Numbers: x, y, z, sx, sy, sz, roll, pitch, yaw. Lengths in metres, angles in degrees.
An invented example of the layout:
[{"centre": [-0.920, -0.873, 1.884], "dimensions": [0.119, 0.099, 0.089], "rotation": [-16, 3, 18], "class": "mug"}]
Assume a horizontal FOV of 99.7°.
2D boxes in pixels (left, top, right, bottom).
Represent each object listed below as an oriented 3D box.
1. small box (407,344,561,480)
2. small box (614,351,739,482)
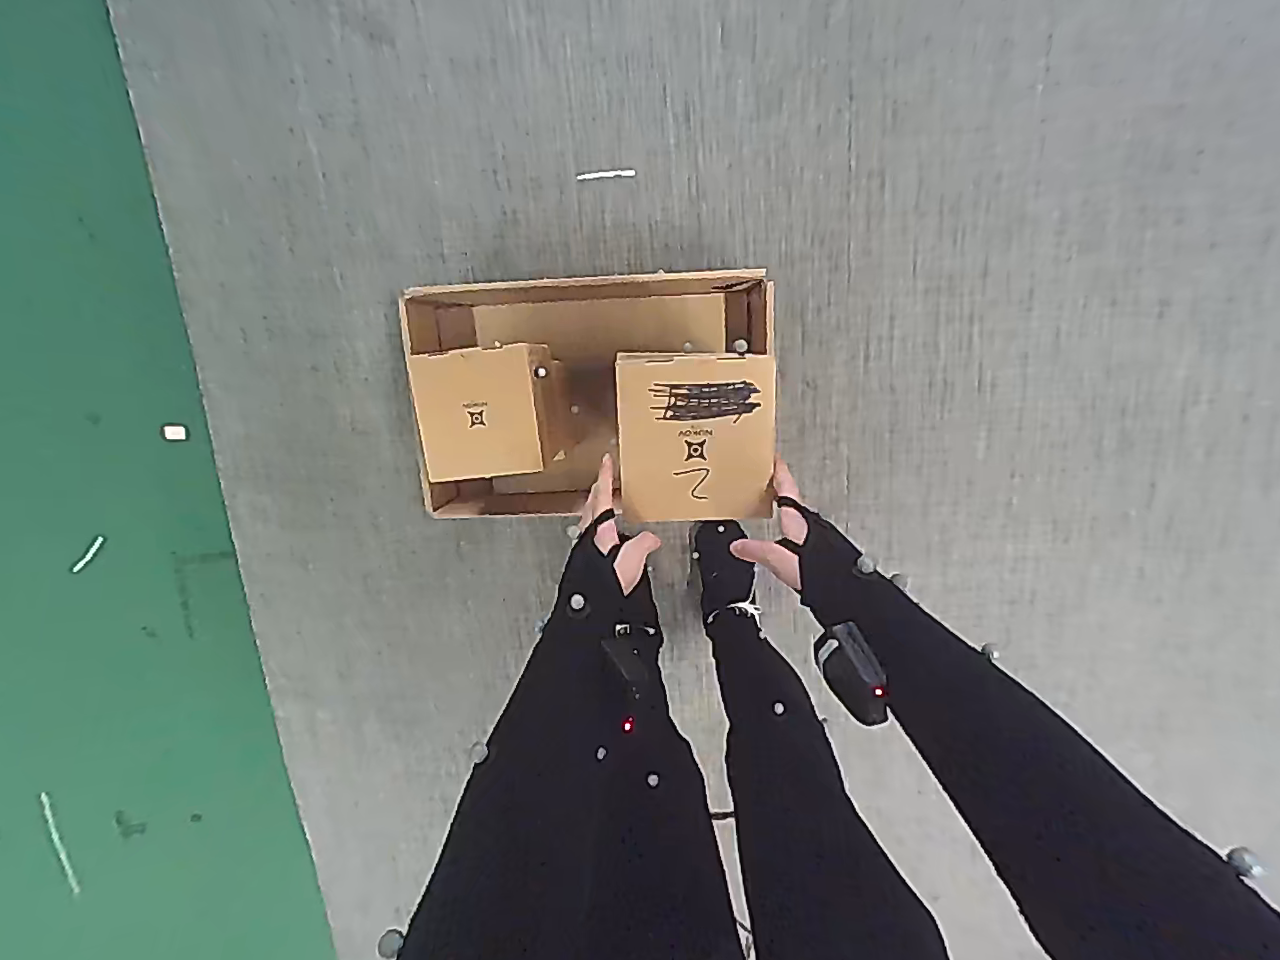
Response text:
[{"centre": [-0.221, -0.108, 0.819], "dimensions": [0.168, 0.176, 0.179], "rotation": [-6, 102, 3], "class": "small box"}, {"centre": [0.051, -0.102, 0.808], "dimensions": [0.168, 0.176, 0.179], "rotation": [1, 102, 2], "class": "small box"}]
